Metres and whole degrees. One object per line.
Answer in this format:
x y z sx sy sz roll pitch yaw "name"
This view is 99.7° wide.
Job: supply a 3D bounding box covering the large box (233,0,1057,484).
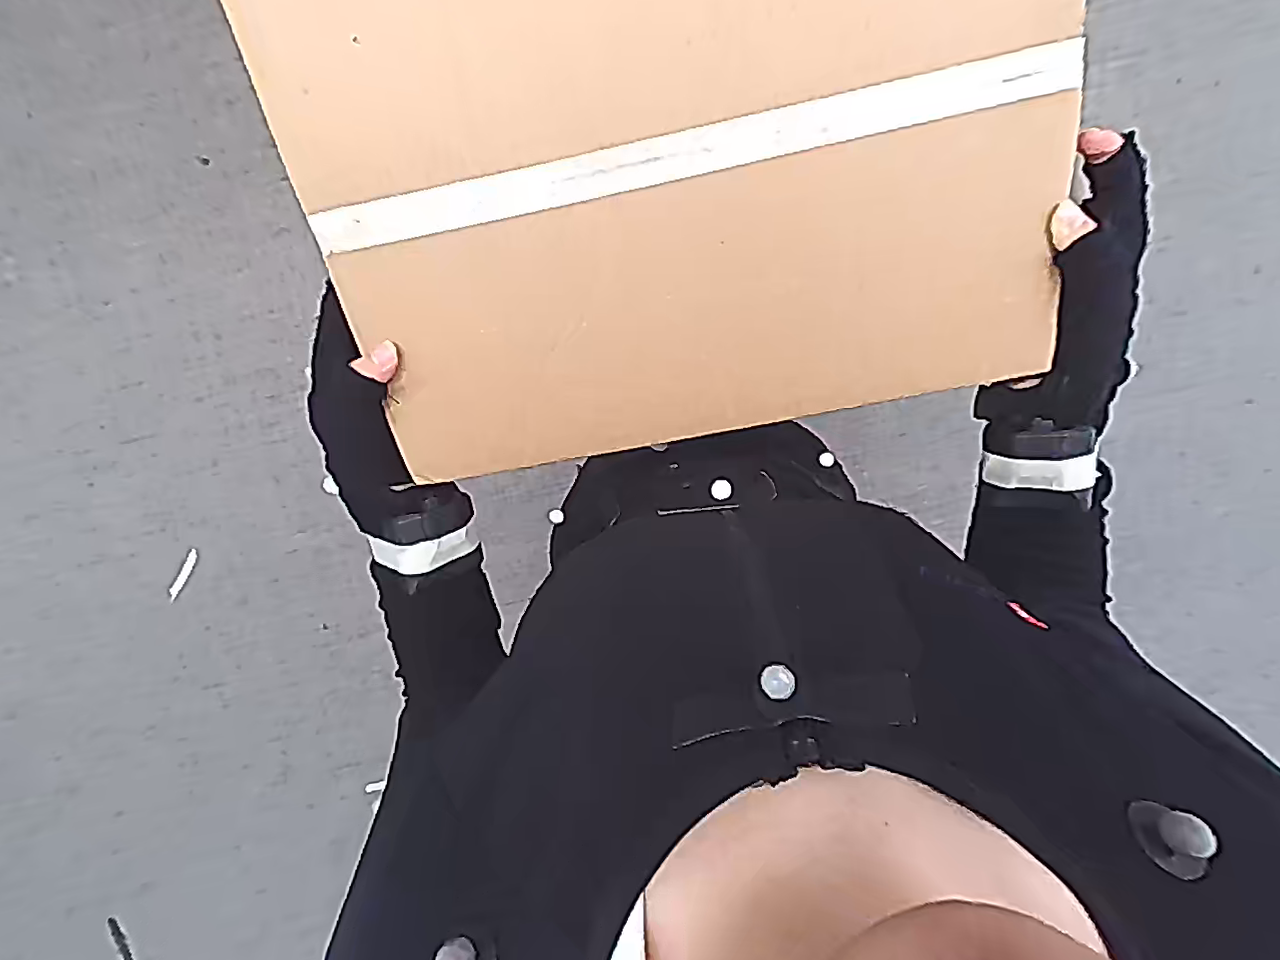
0.018 -0.231 0.432 0.408 0.320 0.320 -10 112 4 "large box"
